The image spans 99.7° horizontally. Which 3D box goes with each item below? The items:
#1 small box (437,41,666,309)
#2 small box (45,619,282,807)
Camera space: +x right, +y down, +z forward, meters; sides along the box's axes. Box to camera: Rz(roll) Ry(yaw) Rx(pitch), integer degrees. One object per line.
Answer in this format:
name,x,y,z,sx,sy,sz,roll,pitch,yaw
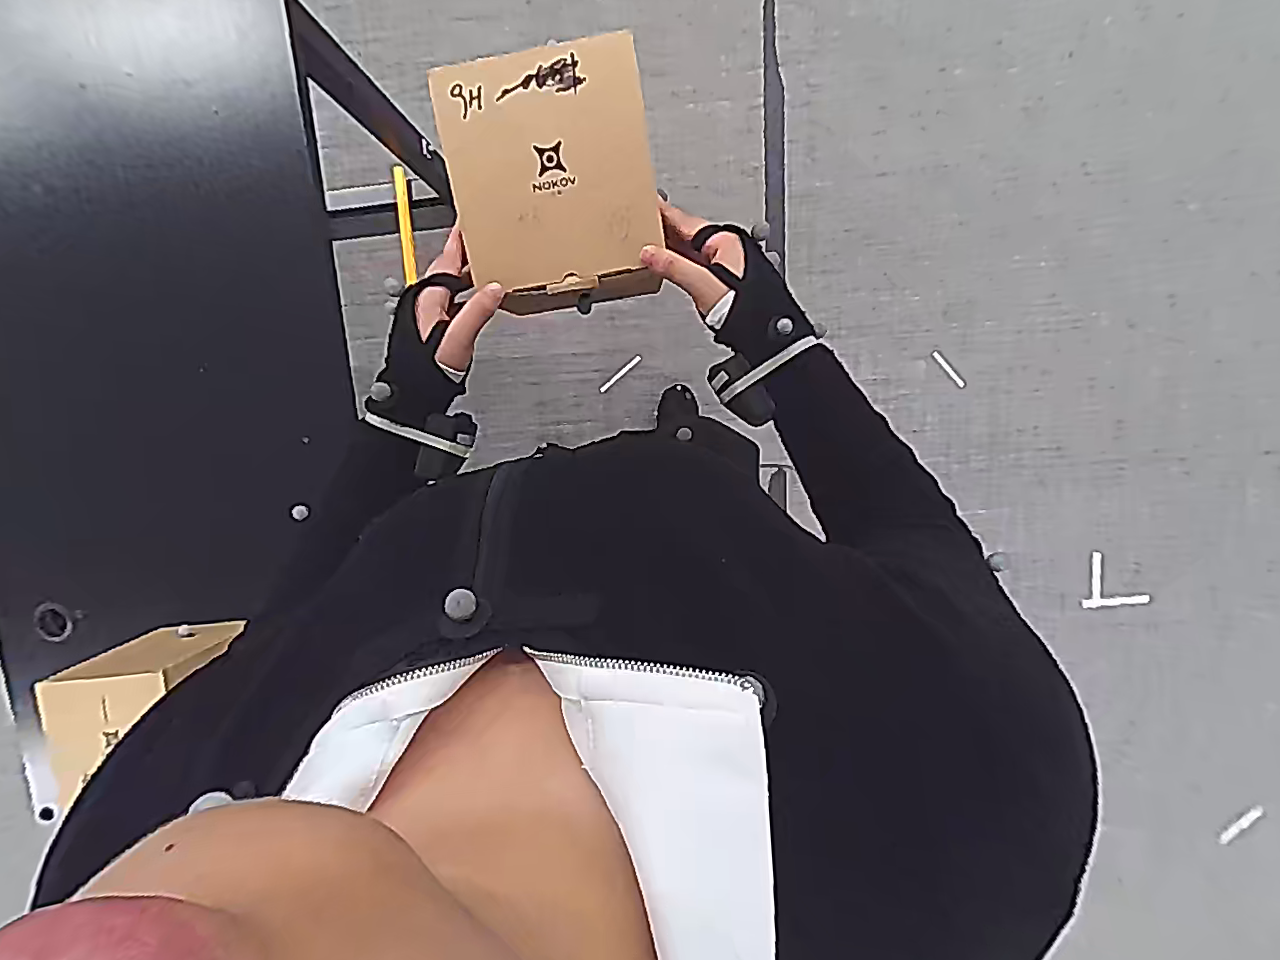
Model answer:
small box,-0.067,-0.267,0.521,0.168,0.176,0.179,-9,103,3
small box,-0.632,0.309,0.743,0.168,0.176,0.179,-6,96,3
